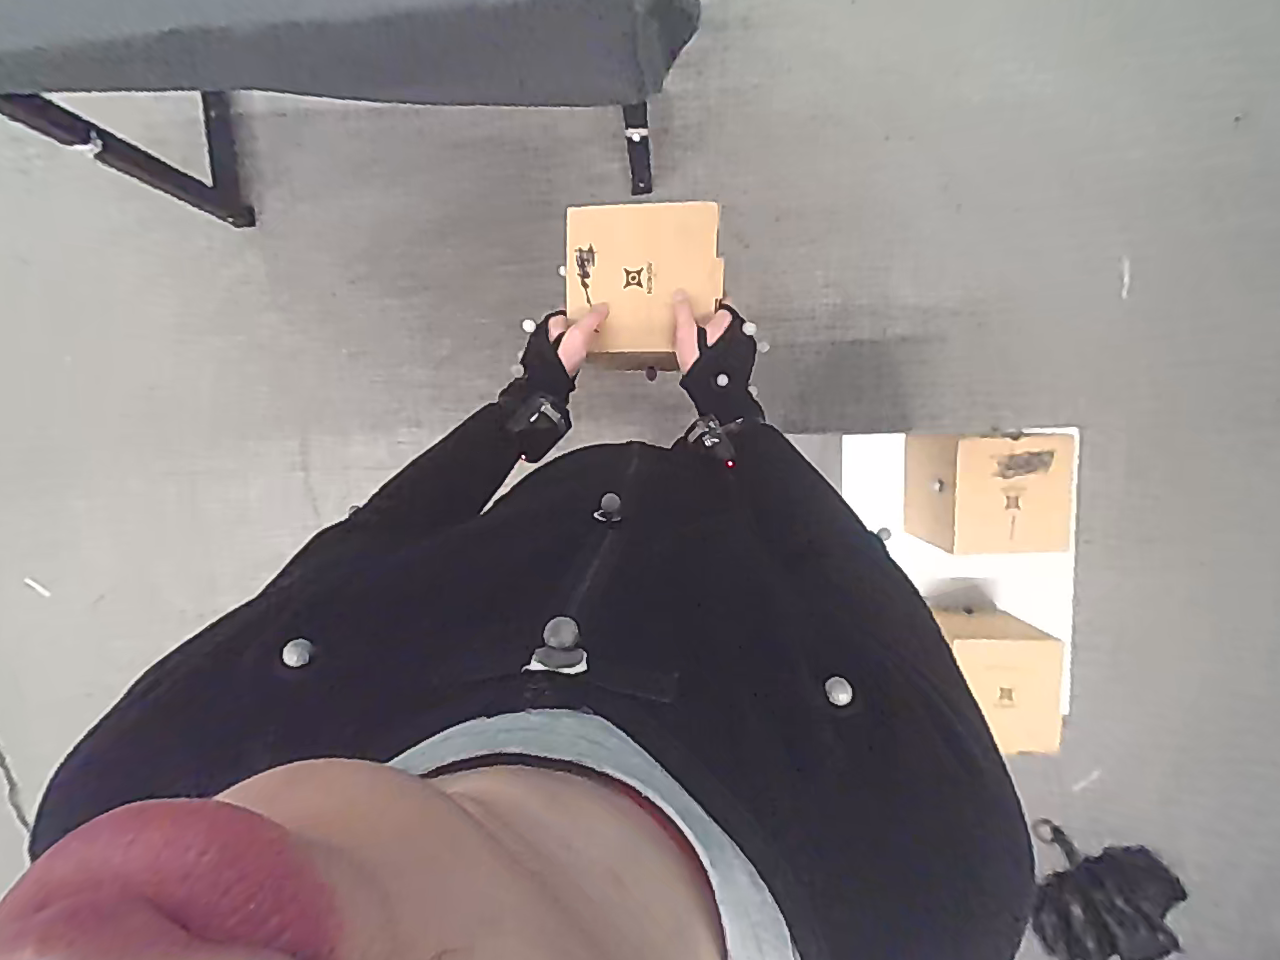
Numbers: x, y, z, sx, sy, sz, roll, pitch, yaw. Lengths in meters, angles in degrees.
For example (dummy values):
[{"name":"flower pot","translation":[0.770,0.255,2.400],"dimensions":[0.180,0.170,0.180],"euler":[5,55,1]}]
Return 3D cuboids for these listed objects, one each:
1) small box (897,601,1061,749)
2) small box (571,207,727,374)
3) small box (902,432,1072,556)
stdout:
[{"name":"small box","translation":[0.543,0.312,0.890],"dimensions":[0.168,0.176,0.179],"euler":[1,95,1]},{"name":"small box","translation":[0.014,-0.228,0.687],"dimensions":[0.179,0.176,0.168],"euler":[1,95,5]},{"name":"small box","translation":[0.536,0.014,0.858],"dimensions":[0.168,0.176,0.179],"euler":[-2,98,2]}]
